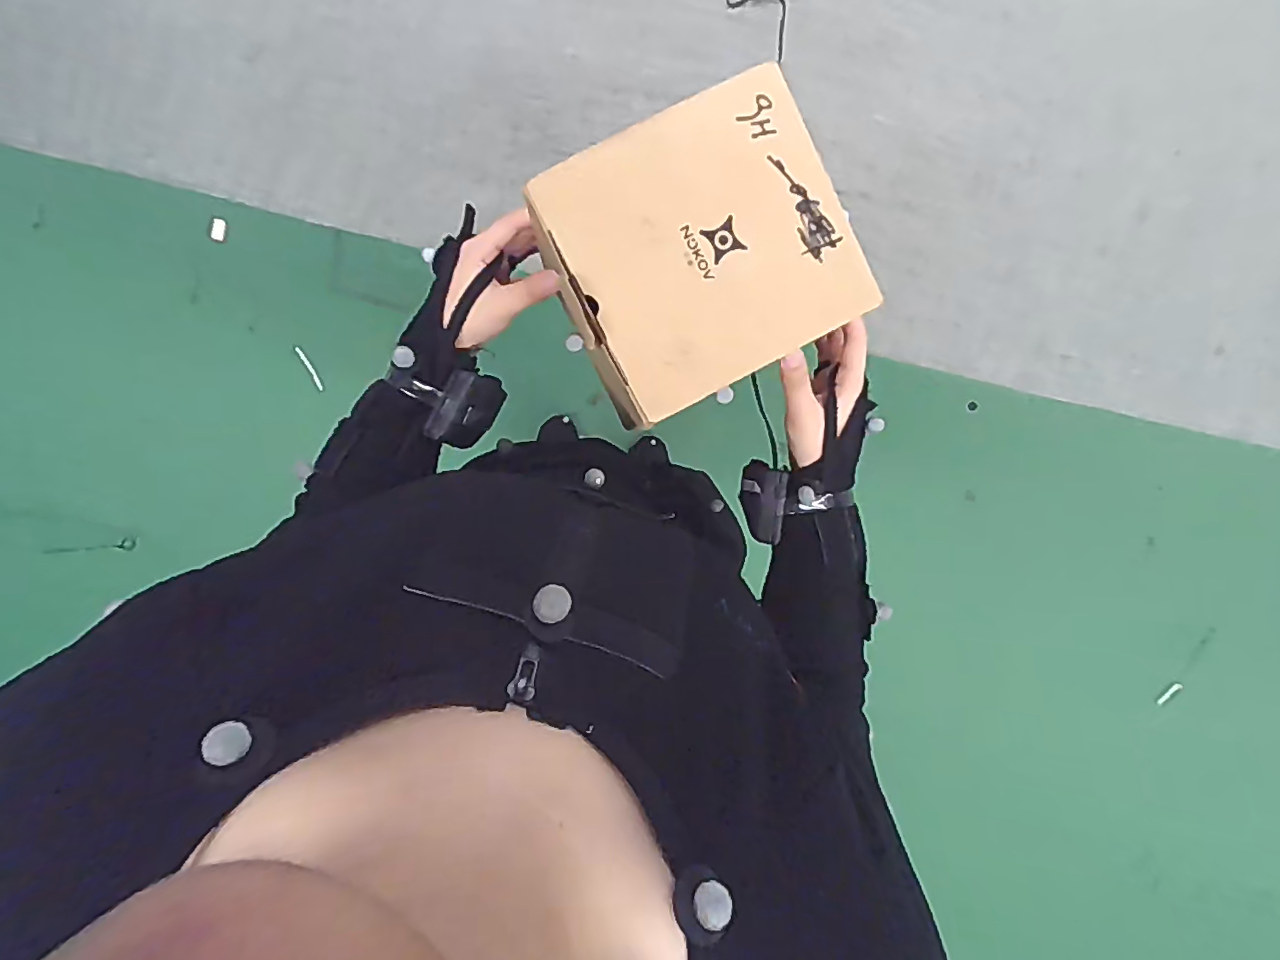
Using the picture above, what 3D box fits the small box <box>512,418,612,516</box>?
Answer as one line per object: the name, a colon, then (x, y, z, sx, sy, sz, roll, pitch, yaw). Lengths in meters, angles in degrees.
small box: (-0.190, -0.030, 1.315, 0.179, 0.176, 0.168, 39, 90, 6)
